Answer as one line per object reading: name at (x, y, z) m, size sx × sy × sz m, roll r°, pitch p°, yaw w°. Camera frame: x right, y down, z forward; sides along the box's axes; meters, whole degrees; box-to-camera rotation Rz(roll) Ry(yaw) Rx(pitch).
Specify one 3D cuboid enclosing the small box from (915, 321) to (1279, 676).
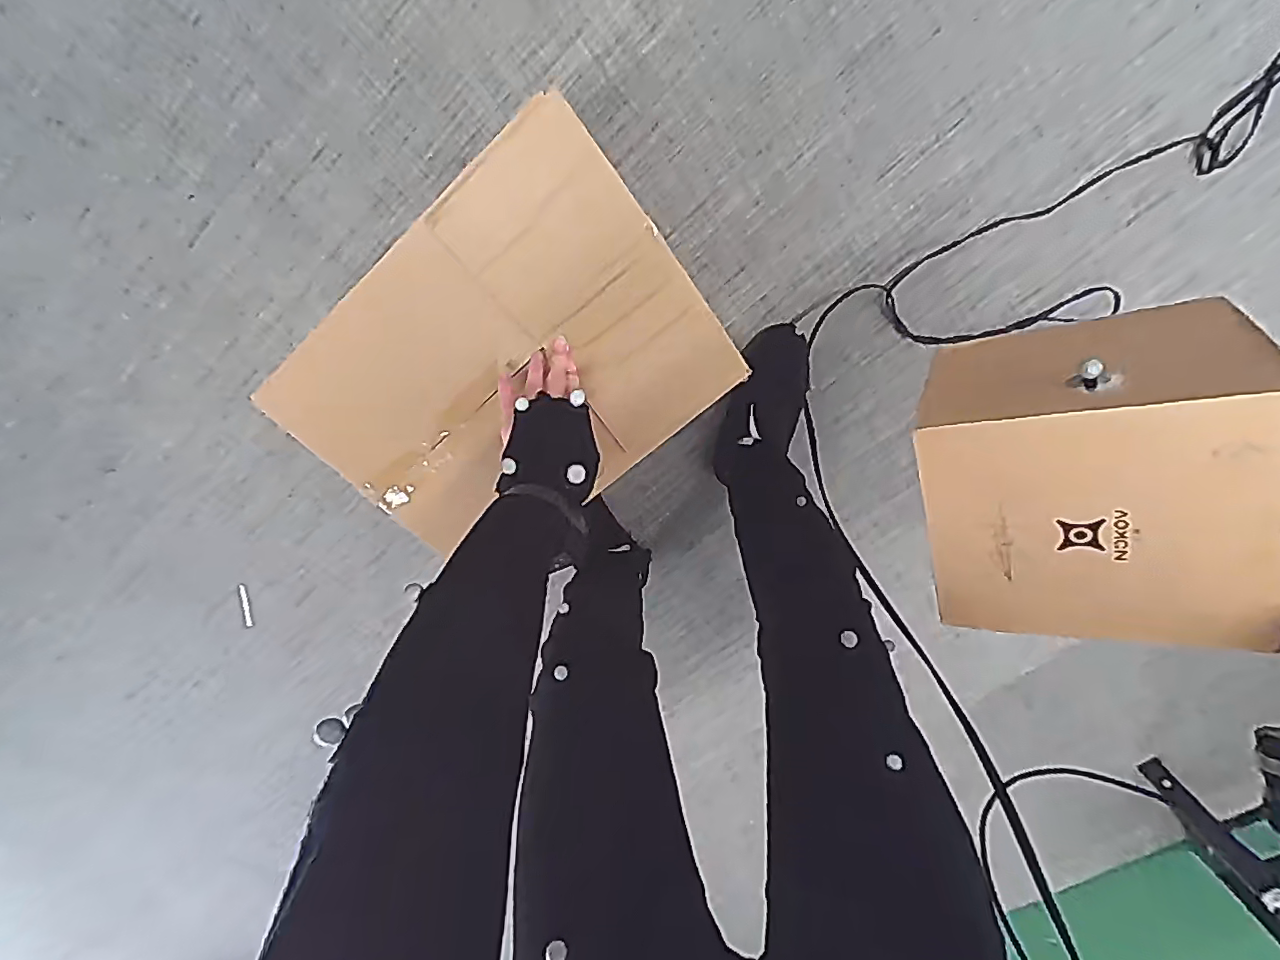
small box at (0.300, 0.002, 0.373) m, size 0.179 × 0.176 × 0.168 m, roll -2°, pitch 117°, yaw 34°
